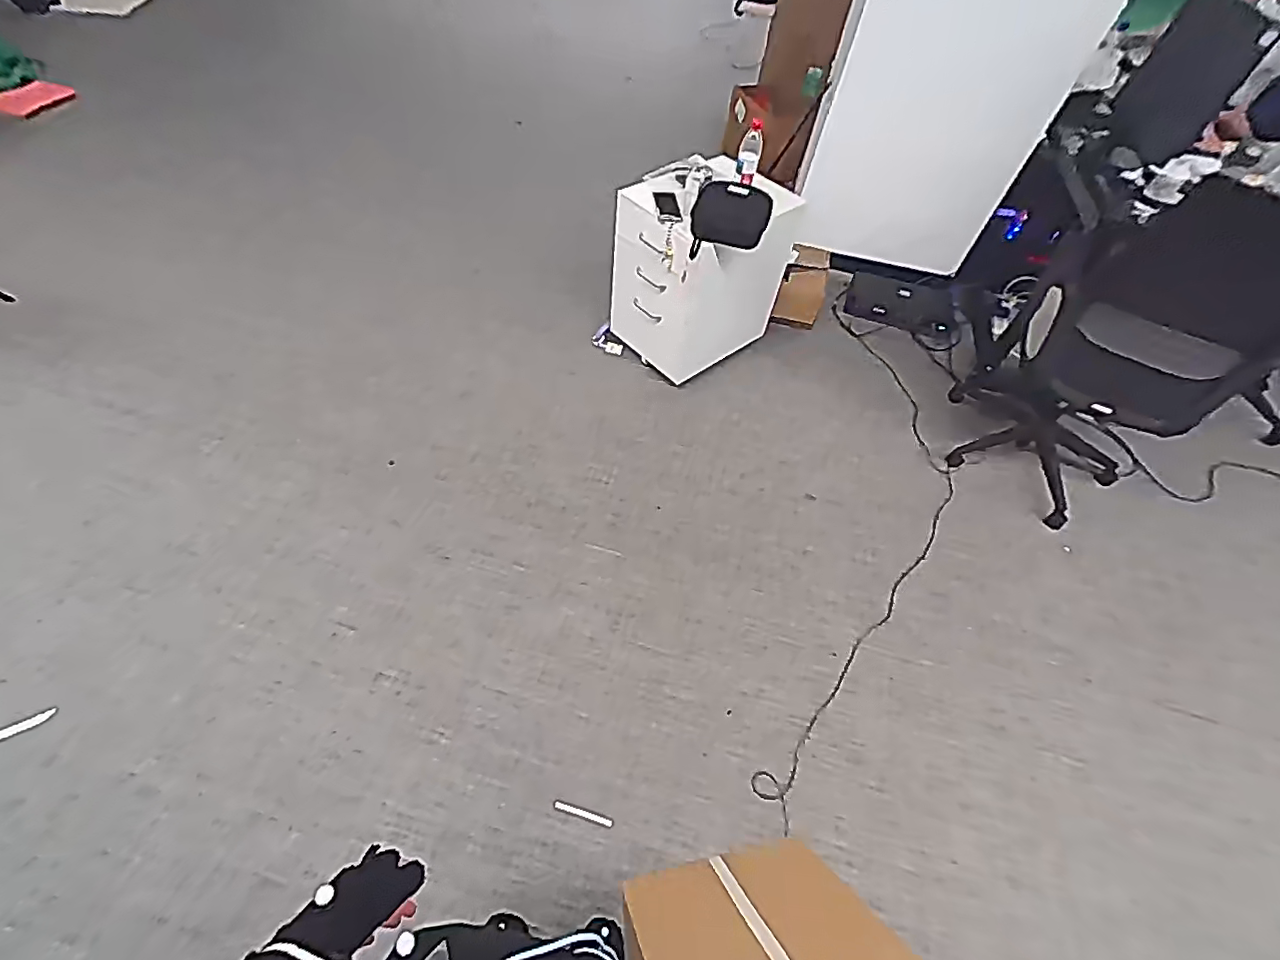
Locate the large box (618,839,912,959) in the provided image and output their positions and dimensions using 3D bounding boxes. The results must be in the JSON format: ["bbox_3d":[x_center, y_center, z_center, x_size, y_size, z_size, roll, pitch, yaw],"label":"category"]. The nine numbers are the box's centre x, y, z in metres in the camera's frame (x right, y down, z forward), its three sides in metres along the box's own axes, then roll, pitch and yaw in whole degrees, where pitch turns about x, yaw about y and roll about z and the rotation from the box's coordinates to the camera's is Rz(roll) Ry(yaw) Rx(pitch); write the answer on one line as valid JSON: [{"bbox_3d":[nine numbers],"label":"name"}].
[{"bbox_3d":[0.172,0.745,0.680,0.320,0.408,0.320,-5,84,-14],"label":"large box"}]
